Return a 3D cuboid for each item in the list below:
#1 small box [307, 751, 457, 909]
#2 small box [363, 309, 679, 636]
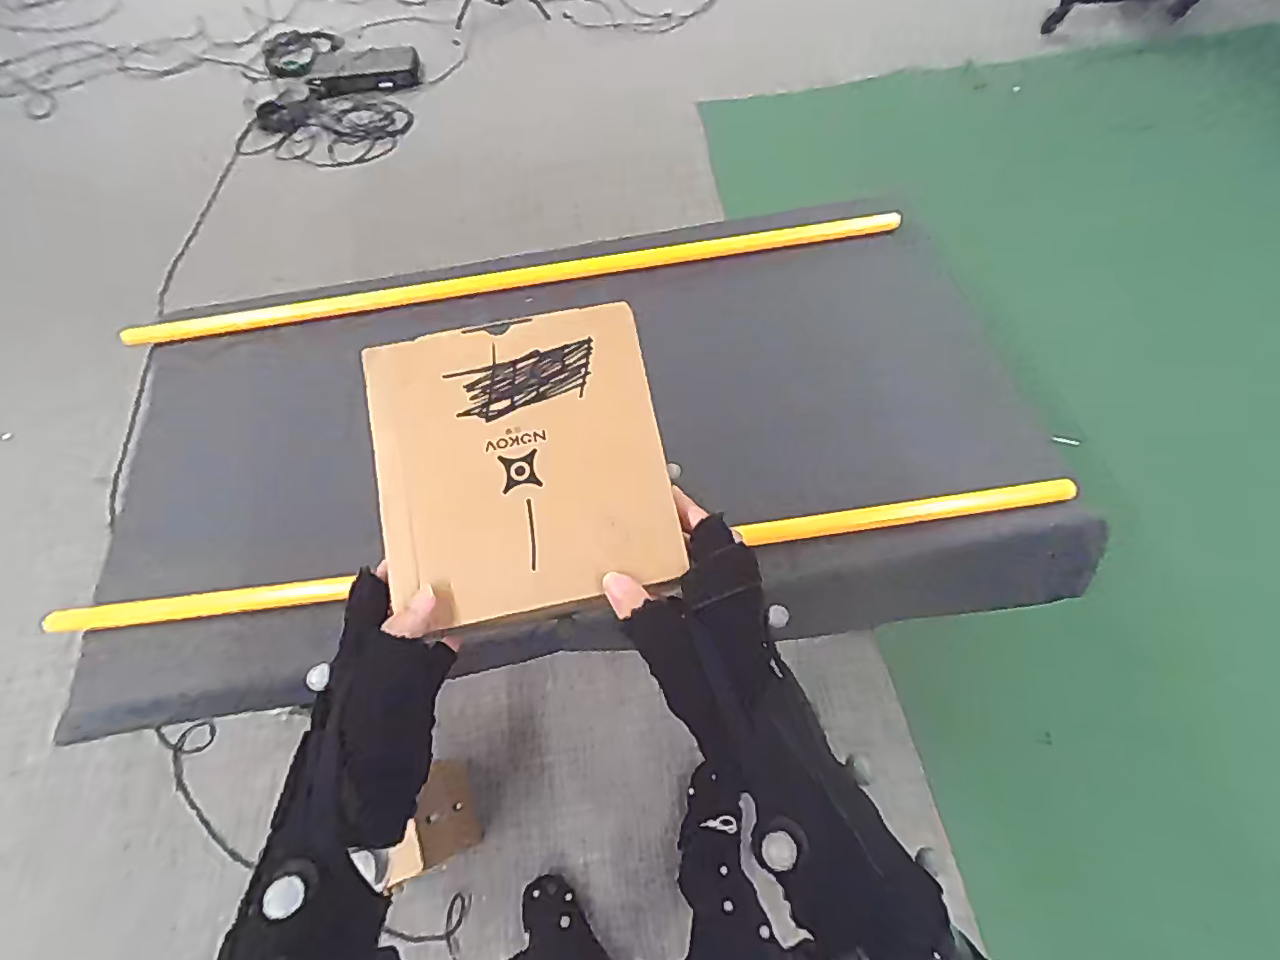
[{"bbox_3d":[-0.451,0.609,0.967,0.168,0.176,0.179,-25,65,-7],"label":"small box"},{"bbox_3d":[-0.074,0.009,0.391,0.168,0.176,0.179,-12,76,-2],"label":"small box"}]
